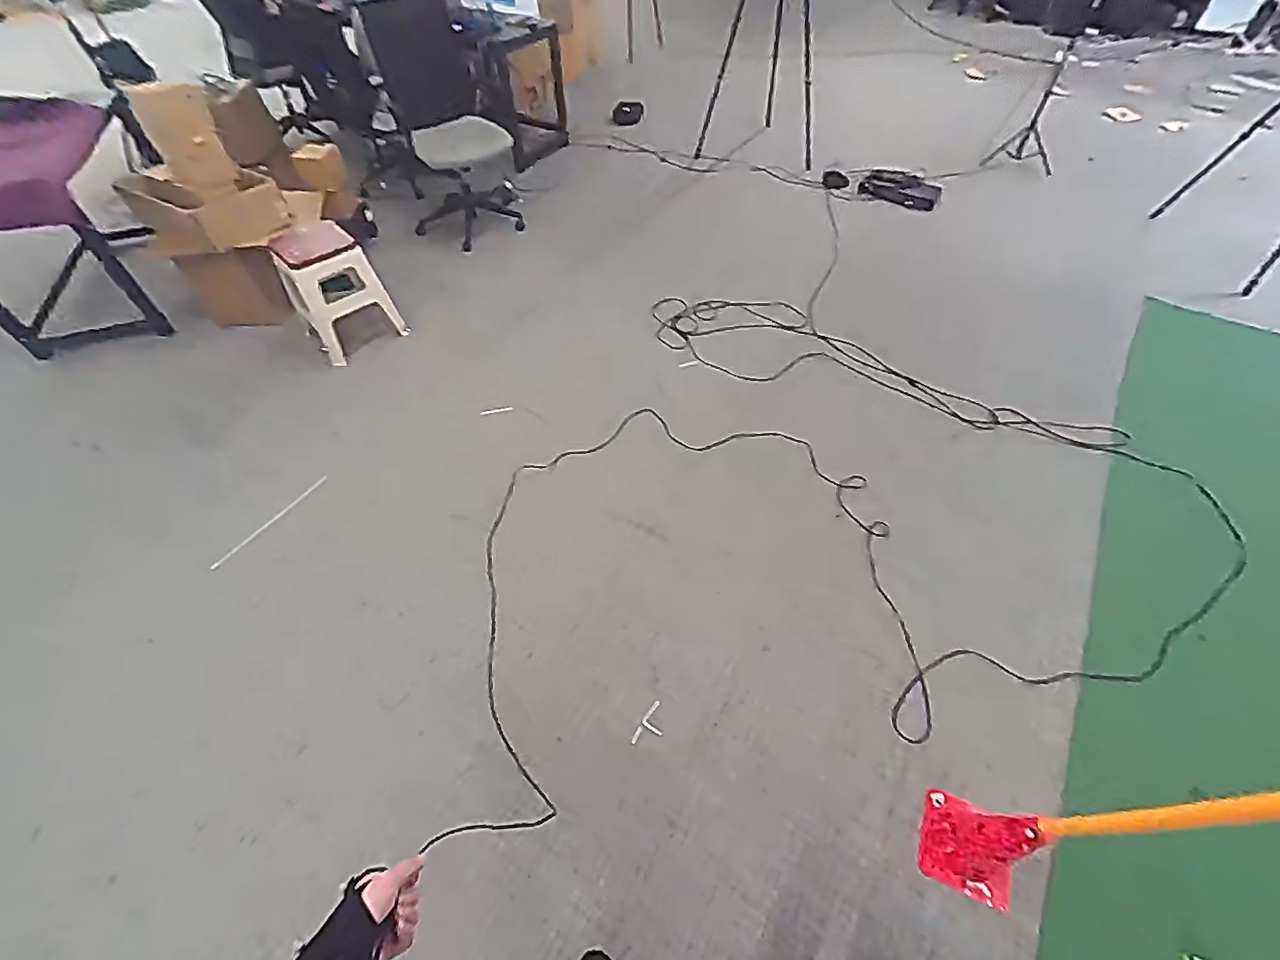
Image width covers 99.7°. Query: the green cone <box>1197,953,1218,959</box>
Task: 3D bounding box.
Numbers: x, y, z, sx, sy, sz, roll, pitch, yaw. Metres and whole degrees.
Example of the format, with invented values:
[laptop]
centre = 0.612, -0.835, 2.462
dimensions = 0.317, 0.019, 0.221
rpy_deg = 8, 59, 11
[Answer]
[green cone]
centre = 1.233, 1.009, 0.949
dimensions = 0.202, 0.368, 0.200
rpy_deg = 27, 56, 20
